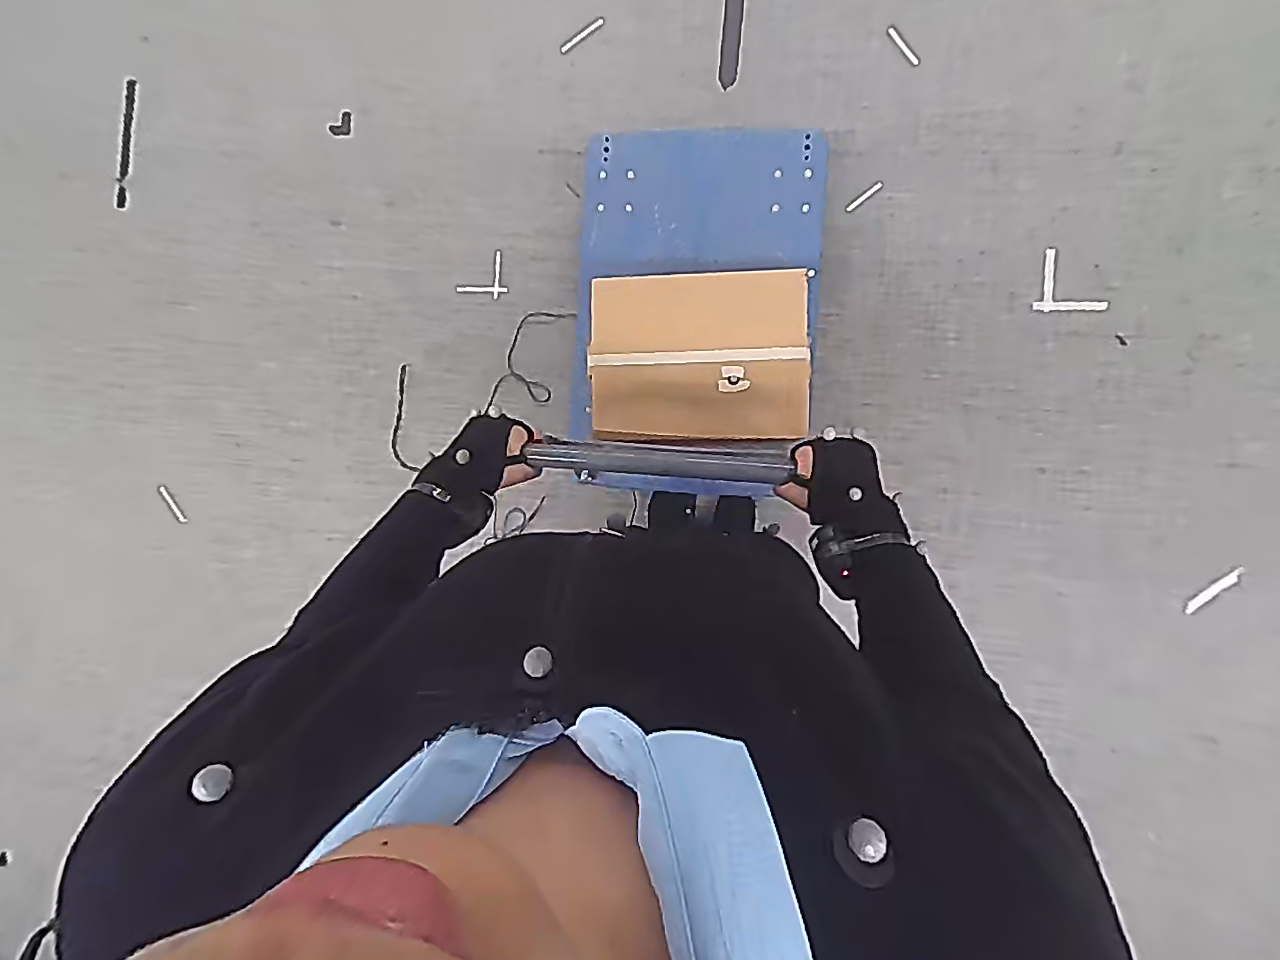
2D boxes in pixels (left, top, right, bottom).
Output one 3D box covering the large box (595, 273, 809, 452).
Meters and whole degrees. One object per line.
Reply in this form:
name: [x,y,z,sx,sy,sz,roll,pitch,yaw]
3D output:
large box: [0.127,-0.227,1.169,0.408,0.320,0.320,-1,91,6]
